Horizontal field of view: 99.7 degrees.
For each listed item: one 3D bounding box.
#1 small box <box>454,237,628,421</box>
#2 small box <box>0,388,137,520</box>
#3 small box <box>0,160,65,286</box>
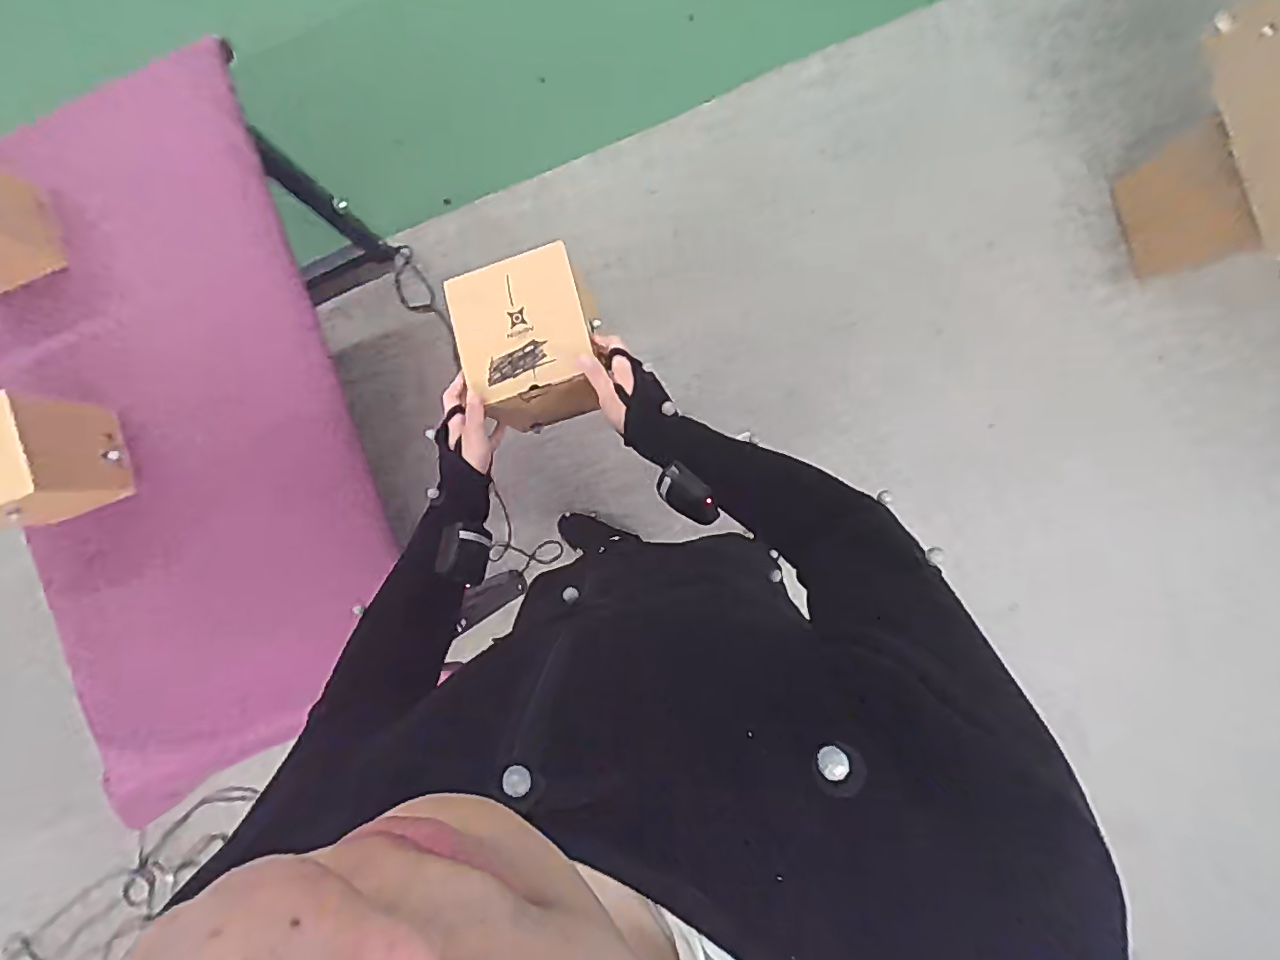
[{"bbox_3d":[-0.123,-0.188,0.737,0.168,0.176,0.179,-15,83,7],"label":"small box"},{"bbox_3d":[-1.002,-0.034,0.890,0.179,0.176,0.168,-19,88,2],"label":"small box"},{"bbox_3d":[-1.148,-0.445,0.905,0.179,0.176,0.168,-21,89,3],"label":"small box"}]
